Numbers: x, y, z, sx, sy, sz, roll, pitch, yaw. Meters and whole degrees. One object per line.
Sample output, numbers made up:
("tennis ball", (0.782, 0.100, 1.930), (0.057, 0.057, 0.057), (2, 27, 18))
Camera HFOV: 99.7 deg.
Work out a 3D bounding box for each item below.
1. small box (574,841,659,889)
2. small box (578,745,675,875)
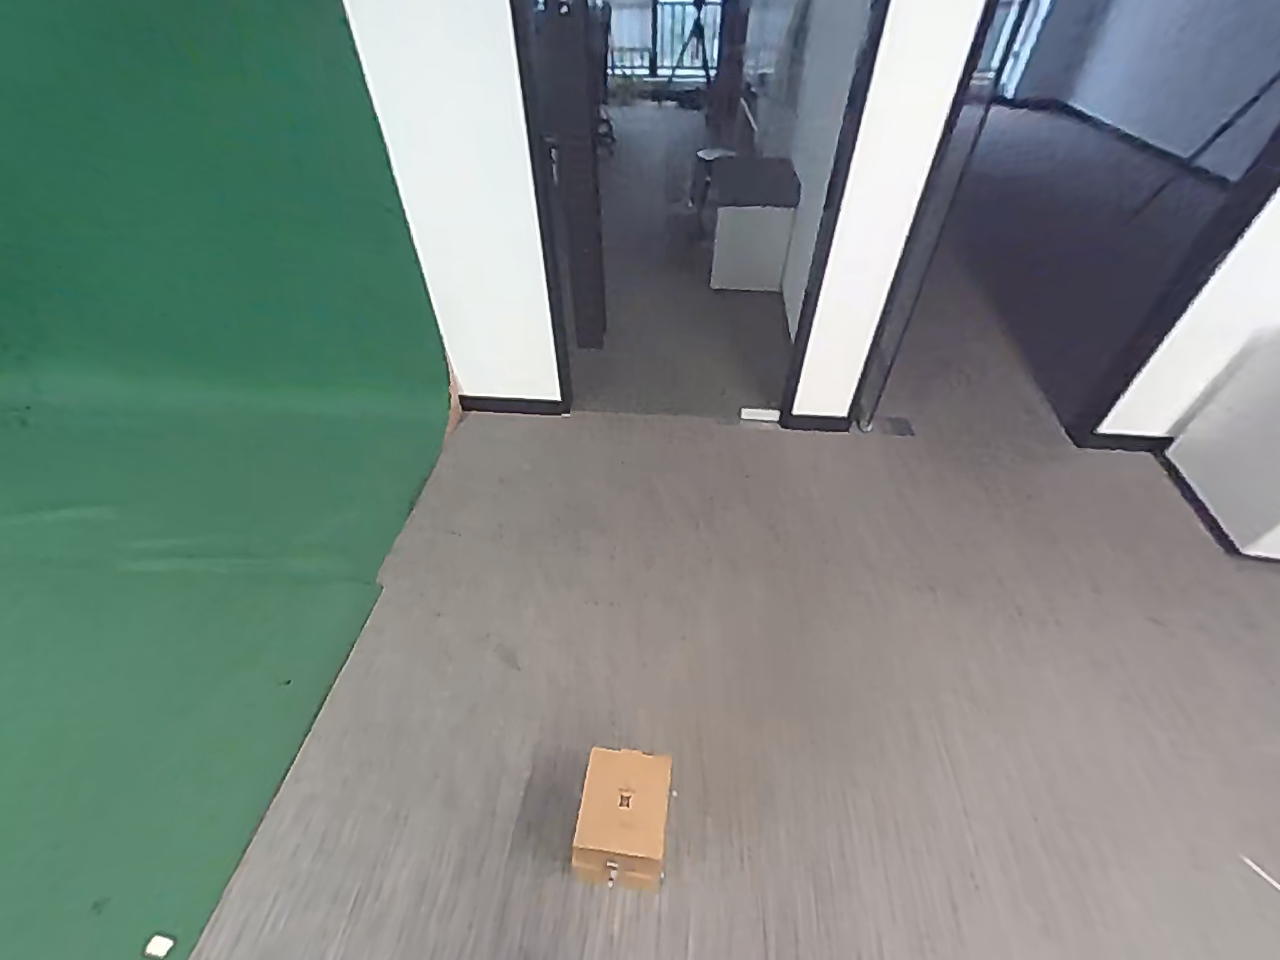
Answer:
("small box", (-0.035, 0.783, 1.196), (0.179, 0.176, 0.168), (5, 44, 7))
("small box", (-0.020, 0.664, 1.088), (0.168, 0.176, 0.179), (4, 45, 7))
